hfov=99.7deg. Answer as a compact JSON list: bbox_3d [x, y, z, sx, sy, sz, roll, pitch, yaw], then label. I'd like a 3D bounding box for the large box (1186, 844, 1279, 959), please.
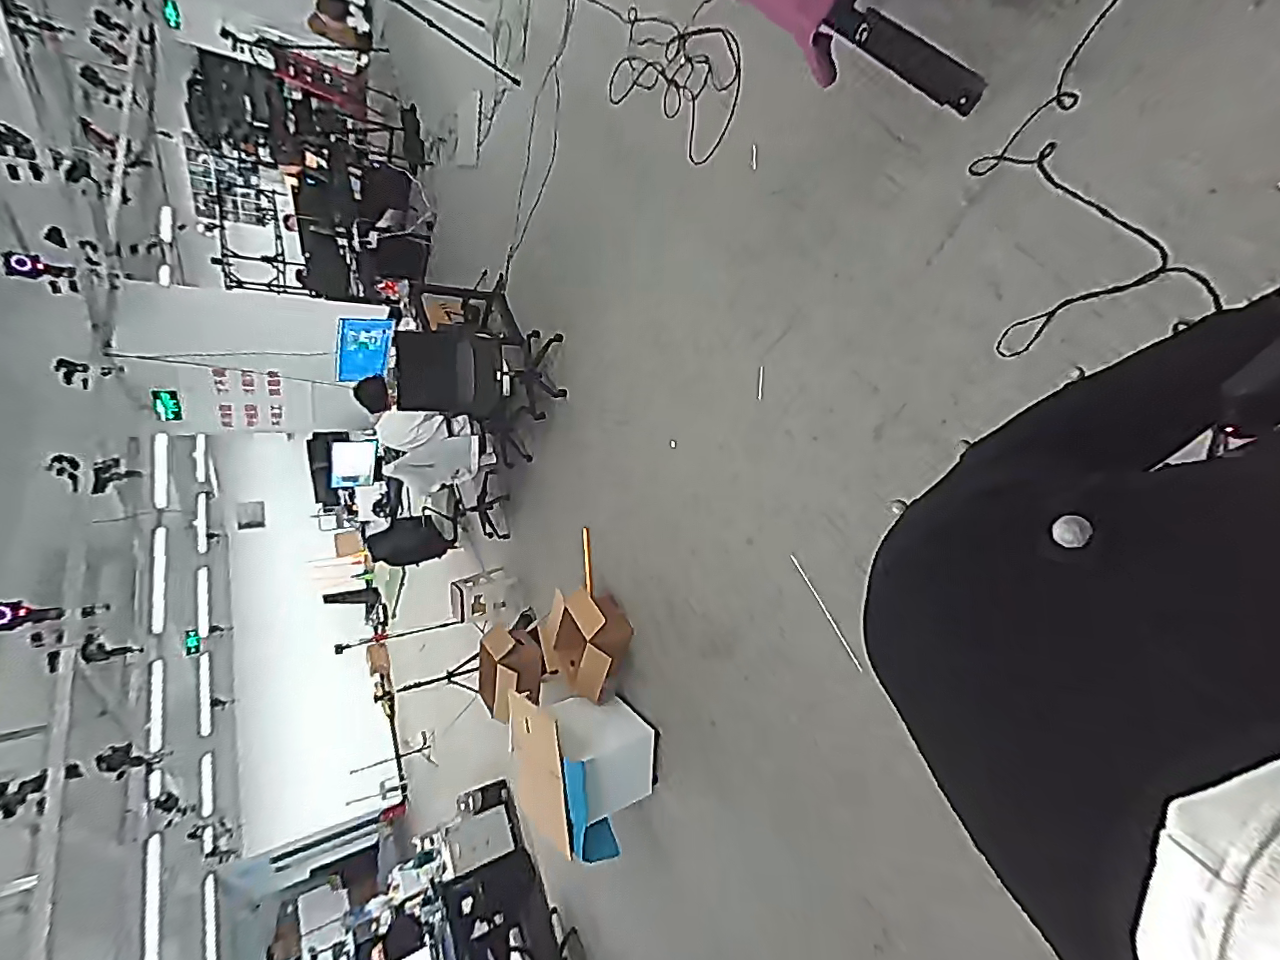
[{"bbox_3d":[1.296,0.912,0.937,0.408,0.320,0.320,-22,77,53],"label":"large box"}]
